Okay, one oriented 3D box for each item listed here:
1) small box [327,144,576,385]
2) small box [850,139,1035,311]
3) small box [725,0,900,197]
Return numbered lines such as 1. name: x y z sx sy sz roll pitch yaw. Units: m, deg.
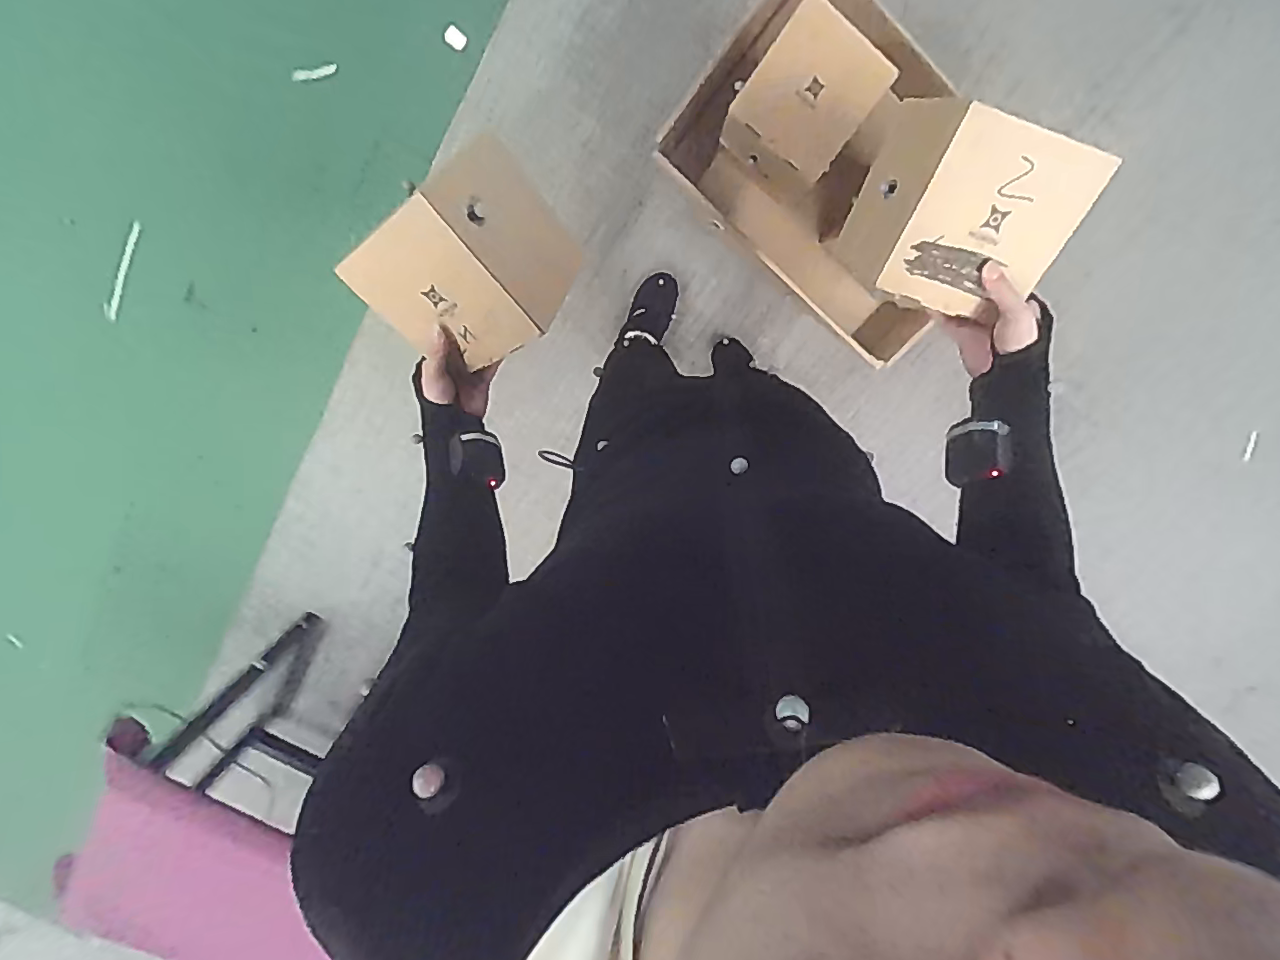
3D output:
1. small box: -0.202 -0.247 0.620 0.168 0.176 0.179 -16 134 34
2. small box: 0.467 -0.397 0.874 0.168 0.176 0.179 39 107 -11
3. small box: 0.247 -0.571 0.828 0.168 0.176 0.179 35 107 -10
